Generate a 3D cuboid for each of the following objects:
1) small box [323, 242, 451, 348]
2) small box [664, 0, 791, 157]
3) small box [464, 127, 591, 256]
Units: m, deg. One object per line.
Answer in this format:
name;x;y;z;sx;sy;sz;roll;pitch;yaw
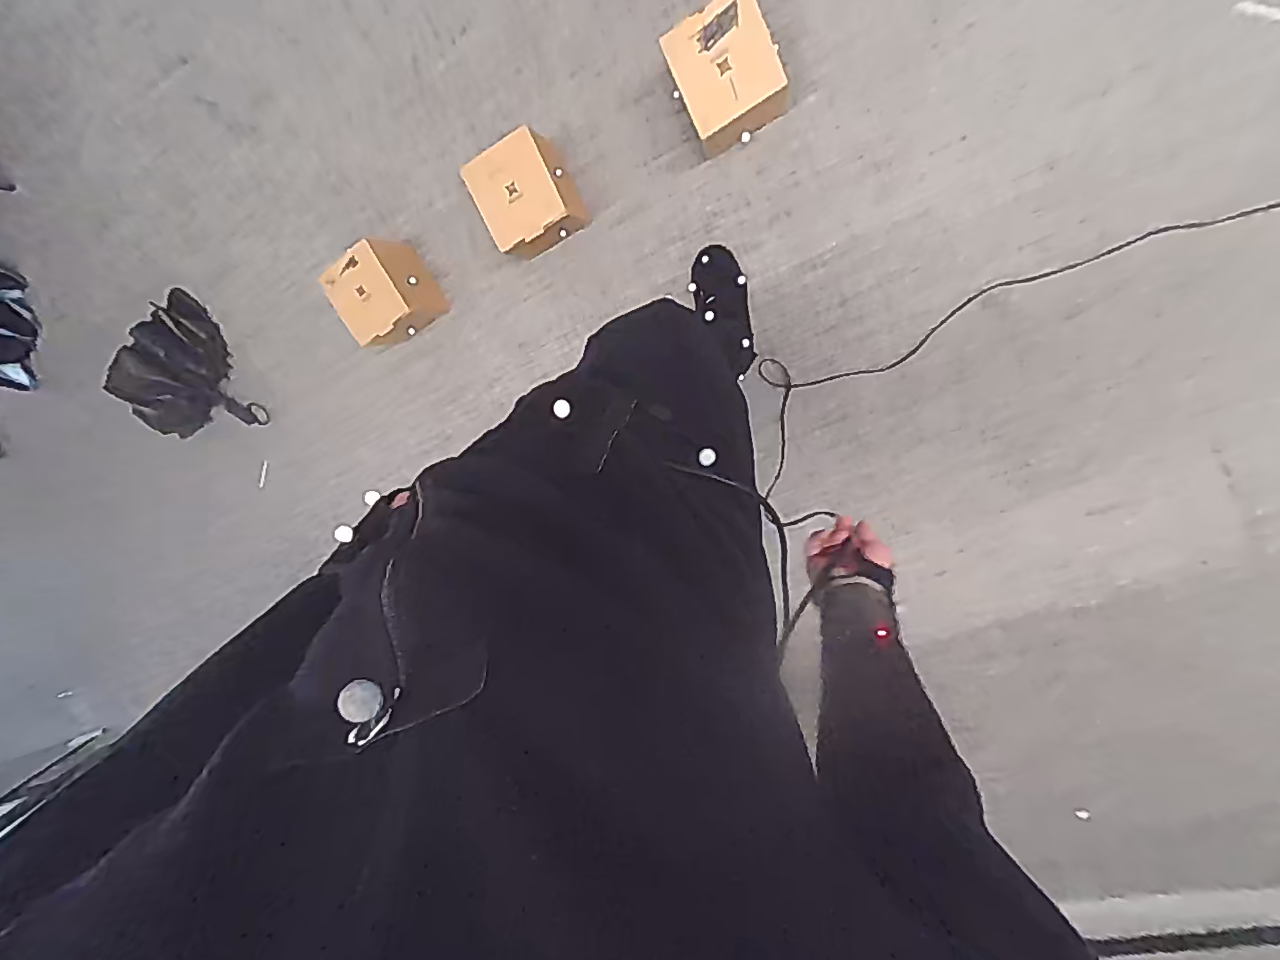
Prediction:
small box;-0.586;-0.436;1.277;0.168;0.176;0.179;-26;102;20
small box;0.164;-0.733;0.988;0.168;0.176;0.179;-23;103;21
small box;-0.226;-0.590;1.137;0.168;0.176;0.179;-23;101;18
